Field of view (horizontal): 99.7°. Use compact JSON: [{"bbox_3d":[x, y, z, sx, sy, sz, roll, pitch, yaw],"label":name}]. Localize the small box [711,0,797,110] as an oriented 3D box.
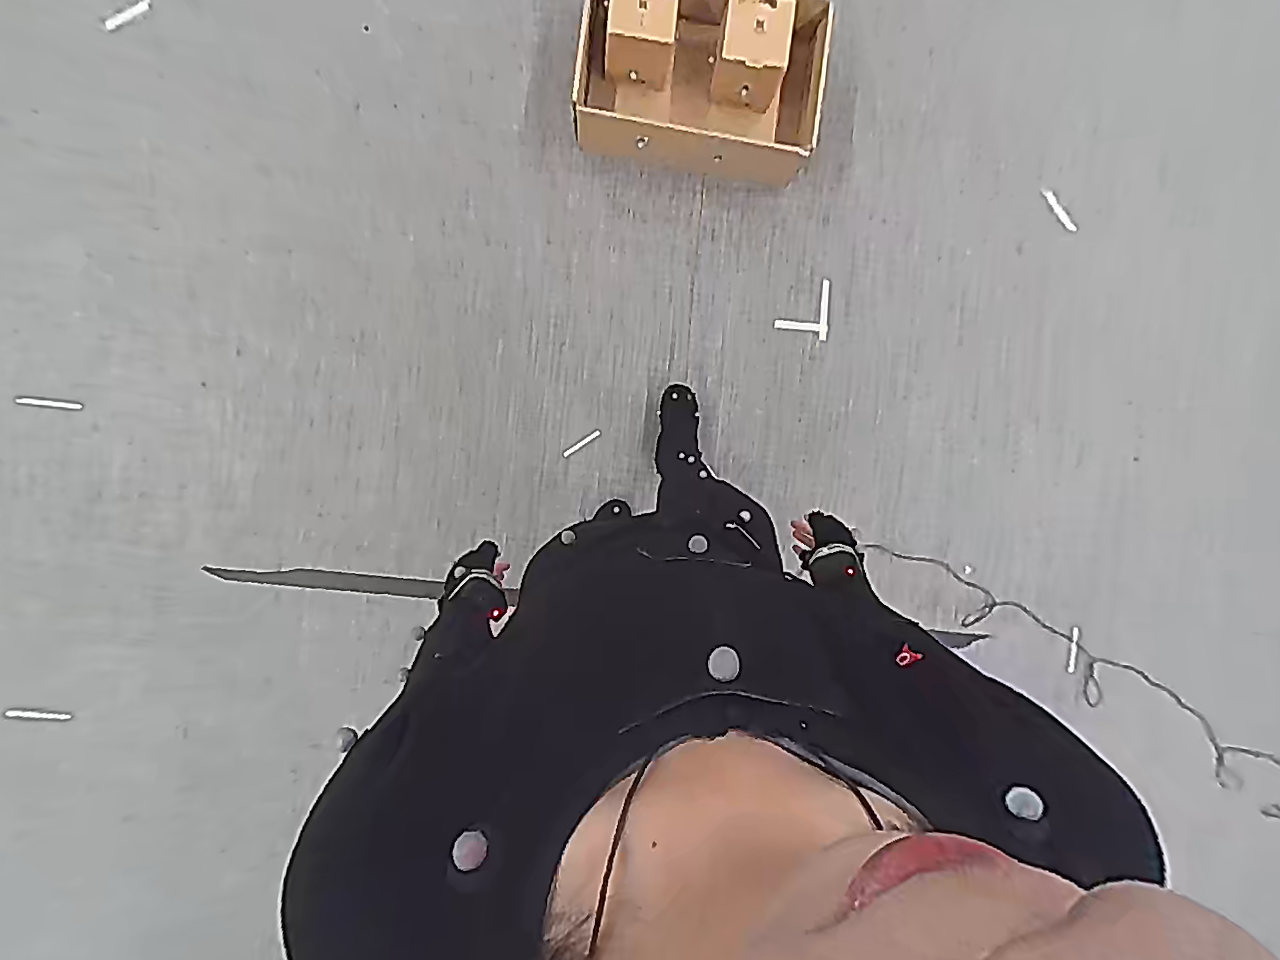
[{"bbox_3d":[0.284,-1.099,1.393,0.168,0.176,0.179,8,92,-5],"label":"small box"}]
